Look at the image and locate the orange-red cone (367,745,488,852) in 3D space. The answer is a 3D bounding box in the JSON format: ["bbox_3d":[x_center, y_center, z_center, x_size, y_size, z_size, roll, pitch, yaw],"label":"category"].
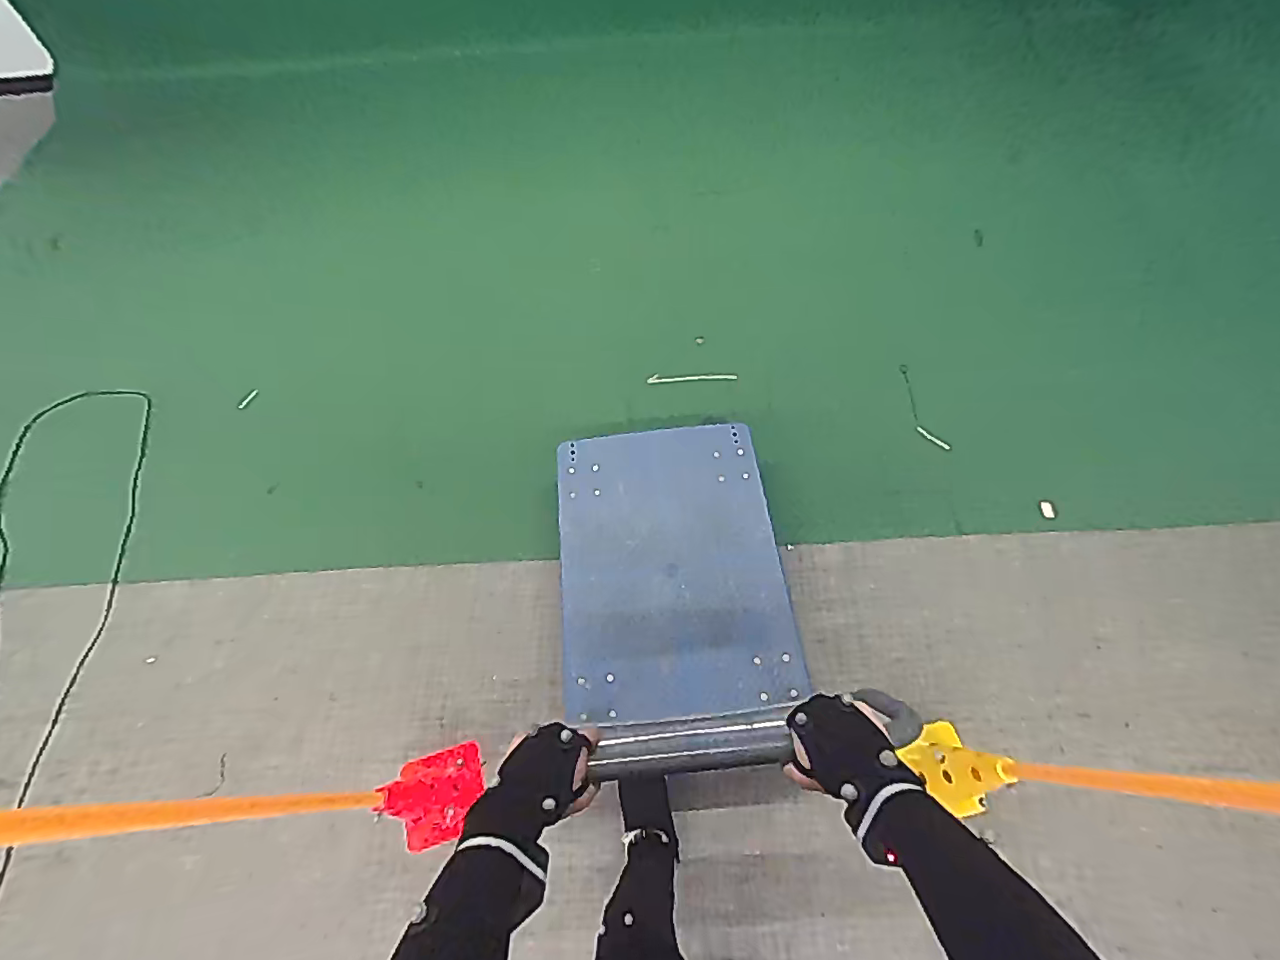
[{"bbox_3d":[-0.490,0.694,1.177,0.199,0.360,0.198,-17,61,-4],"label":"orange-red cone"}]
